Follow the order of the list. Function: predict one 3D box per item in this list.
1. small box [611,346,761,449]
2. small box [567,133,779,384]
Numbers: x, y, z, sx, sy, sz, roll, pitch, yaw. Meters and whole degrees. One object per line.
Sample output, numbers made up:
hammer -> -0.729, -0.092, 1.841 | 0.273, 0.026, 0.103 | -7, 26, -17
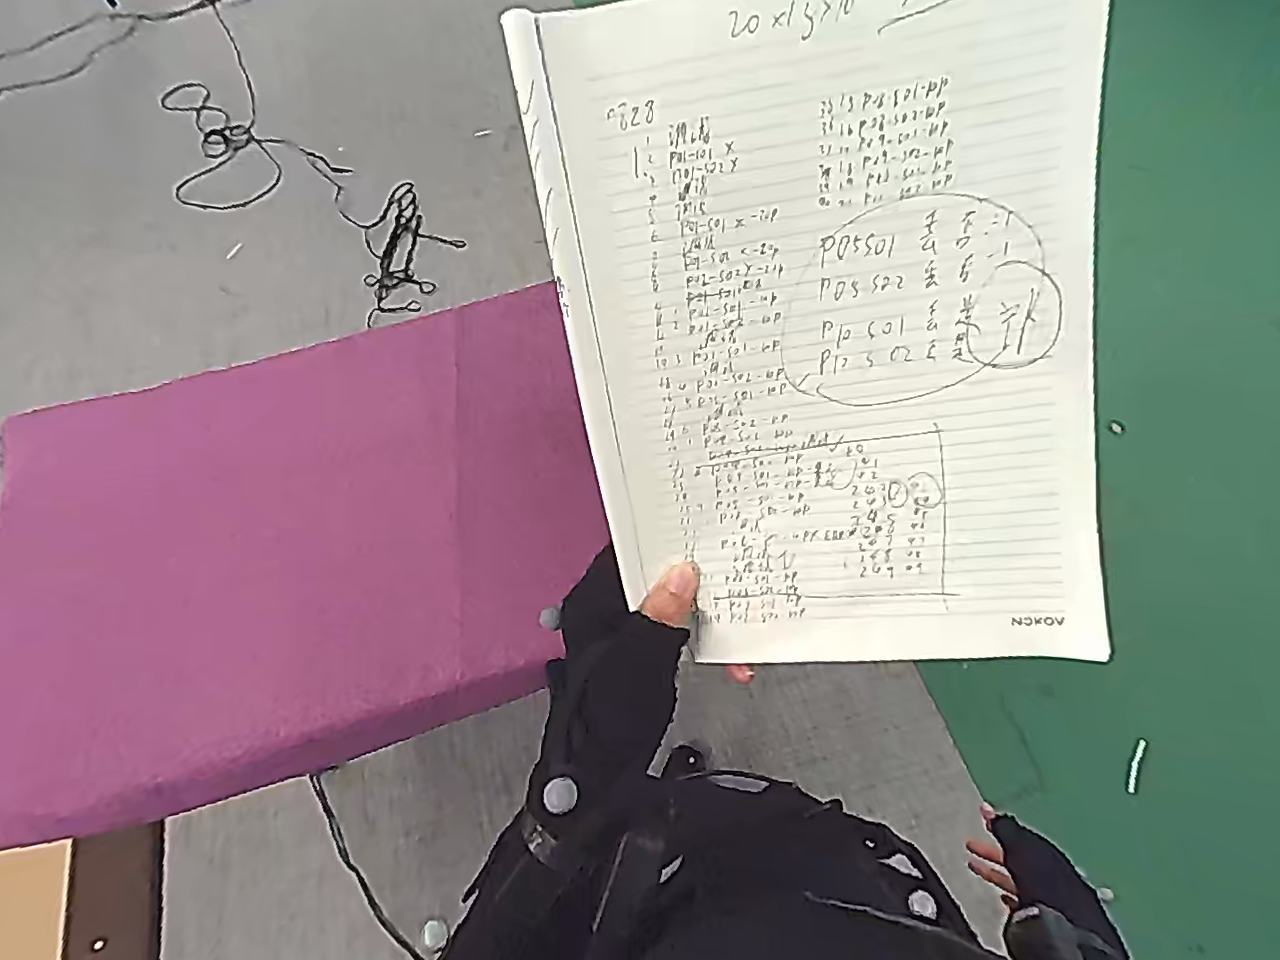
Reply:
small box -> 0.051, -0.159, 0.735 | 0.168, 0.176, 0.179 | -16, 65, -3
small box -> 0.033, -0.224, 0.585 | 0.168, 0.176, 0.179 | -16, 66, -3
